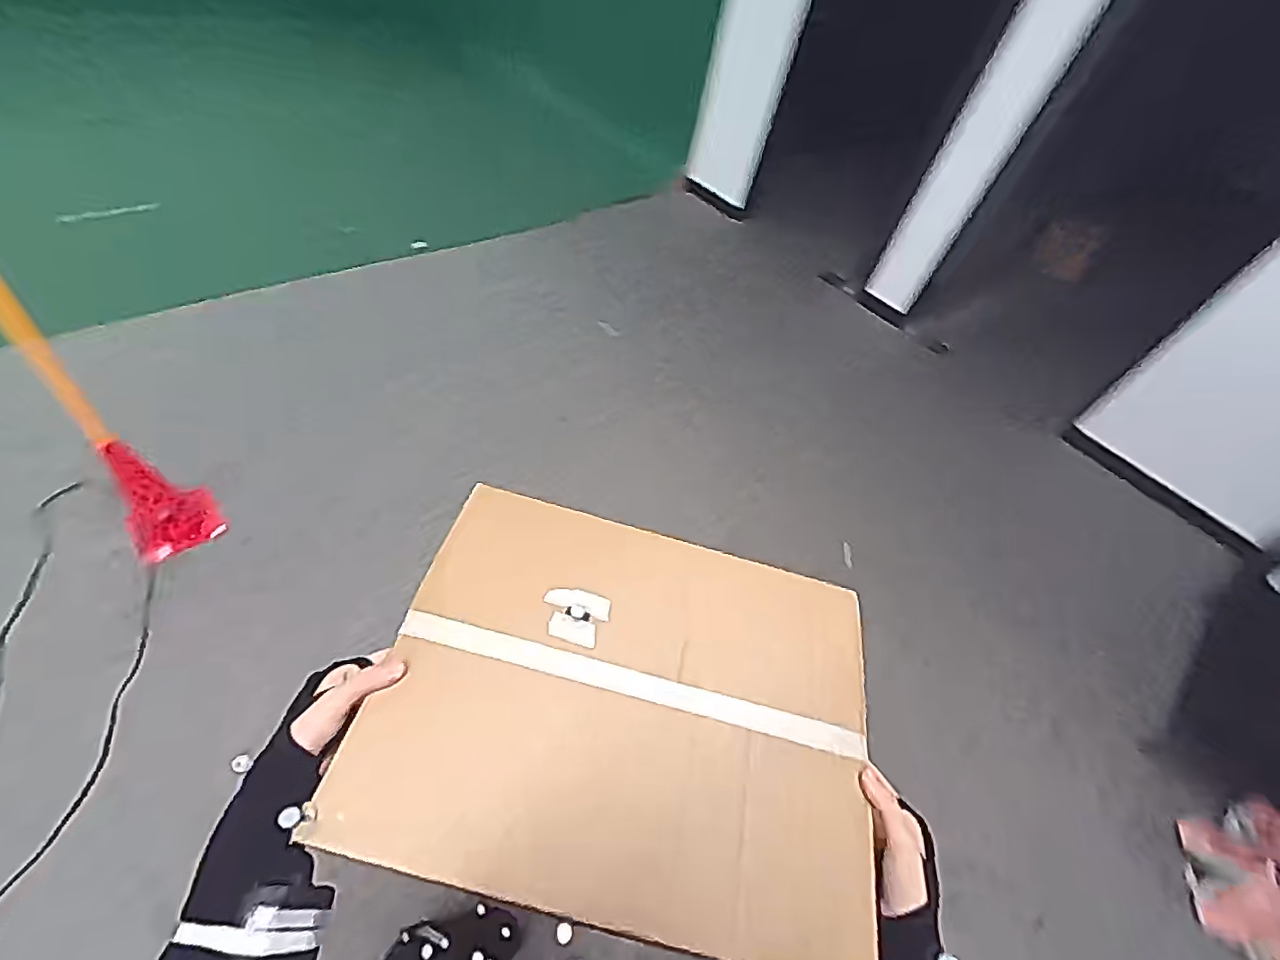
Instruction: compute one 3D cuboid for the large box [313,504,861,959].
[{"bbox_3d":[-0.029,0.275,0.584,0.408,0.320,0.320,15,51,0],"label":"large box"}]
